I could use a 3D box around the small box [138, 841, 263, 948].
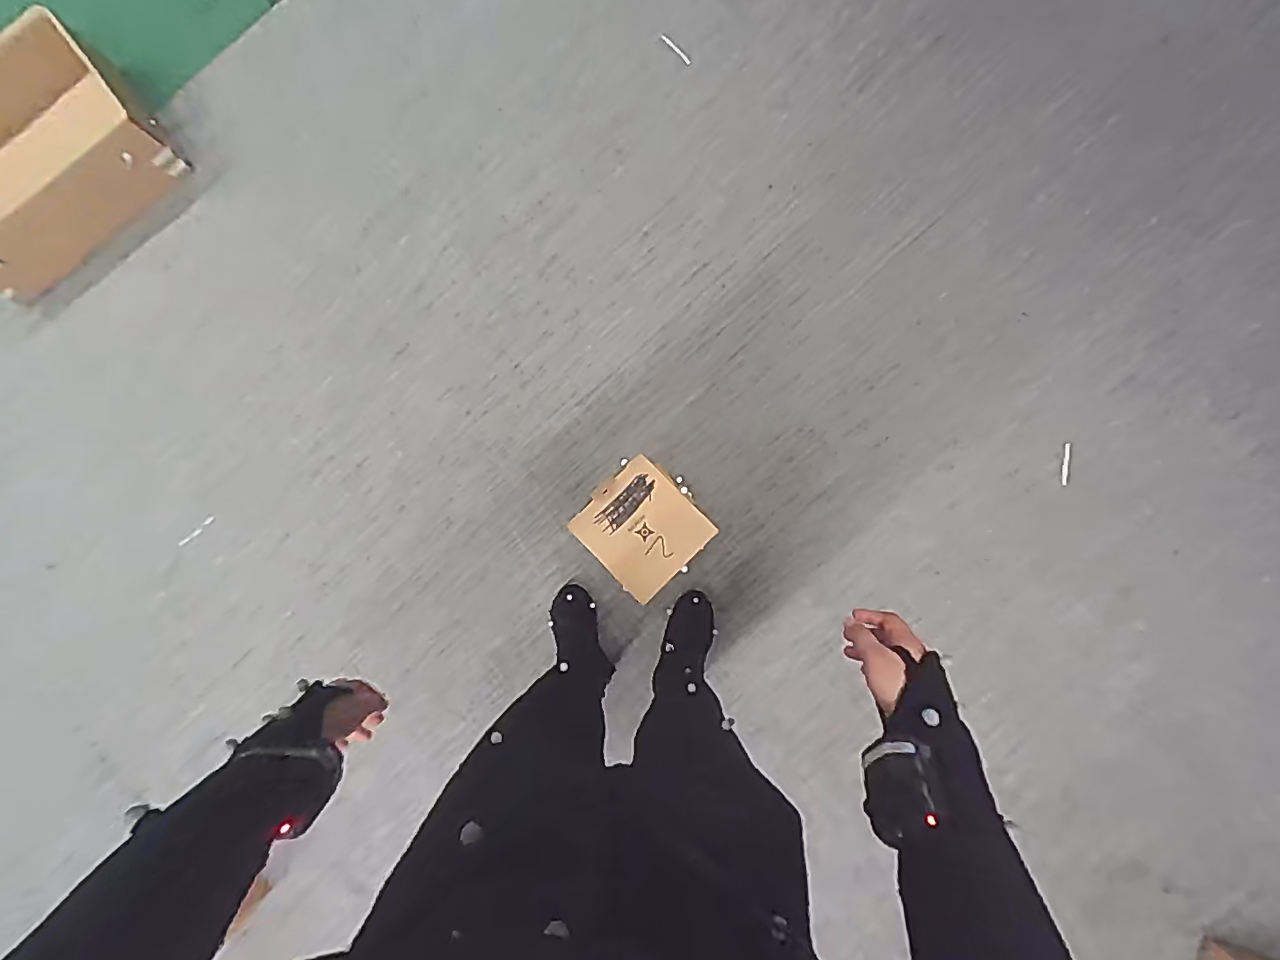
[{"bbox_3d":[-1.013,0.984,1.235,0.168,0.176,0.179,40,89,7],"label":"small box"}]

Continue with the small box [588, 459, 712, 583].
[{"bbox_3d":[0.022,0.081,1.079,0.179,0.176,0.168,-41,83,1],"label":"small box"}]
